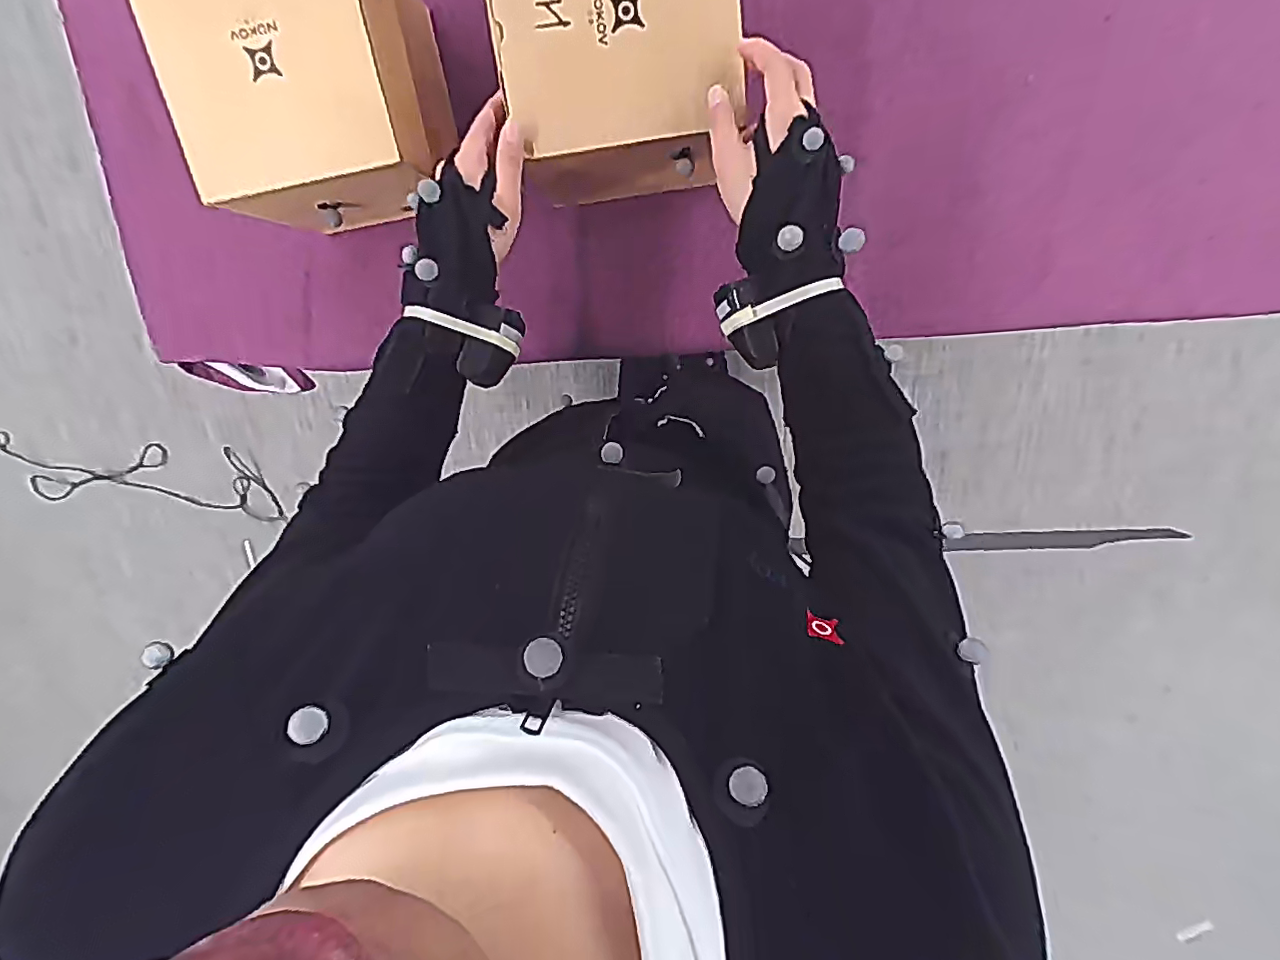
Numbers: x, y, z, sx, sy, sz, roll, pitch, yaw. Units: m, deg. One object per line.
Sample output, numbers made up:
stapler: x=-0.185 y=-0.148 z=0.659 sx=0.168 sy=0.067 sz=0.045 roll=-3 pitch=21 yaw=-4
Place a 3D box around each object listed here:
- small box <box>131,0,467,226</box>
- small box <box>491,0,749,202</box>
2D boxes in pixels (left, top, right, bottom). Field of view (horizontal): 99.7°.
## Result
small box: x=-0.270 y=-0.332 z=0.468 sx=0.168 sy=0.176 sz=0.179 roll=-9 pitch=105 yaw=5
small box: x=-0.014 y=-0.347 z=0.451 sx=0.179 sy=0.176 sz=0.168 roll=-6 pitch=105 yaw=4
